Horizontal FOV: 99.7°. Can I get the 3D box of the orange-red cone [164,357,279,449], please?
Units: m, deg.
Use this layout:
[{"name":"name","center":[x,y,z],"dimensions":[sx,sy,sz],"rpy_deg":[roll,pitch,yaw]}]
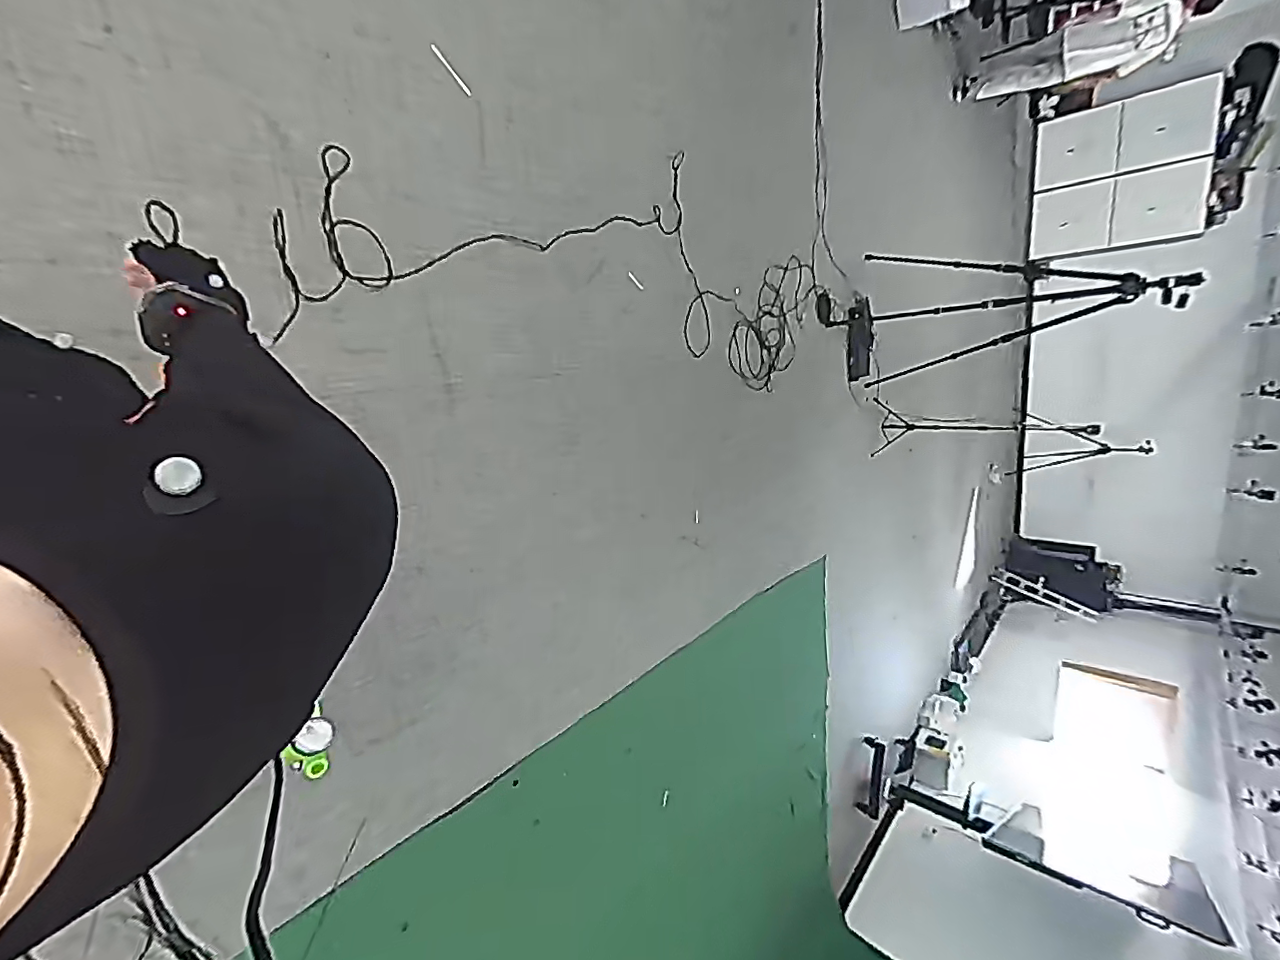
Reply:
[{"name":"orange-red cone","center":[-0.816,-0.155,1.104],"dimensions":[0.198,0.360,0.199],"rpy_deg":[-10,104,-45]}]
